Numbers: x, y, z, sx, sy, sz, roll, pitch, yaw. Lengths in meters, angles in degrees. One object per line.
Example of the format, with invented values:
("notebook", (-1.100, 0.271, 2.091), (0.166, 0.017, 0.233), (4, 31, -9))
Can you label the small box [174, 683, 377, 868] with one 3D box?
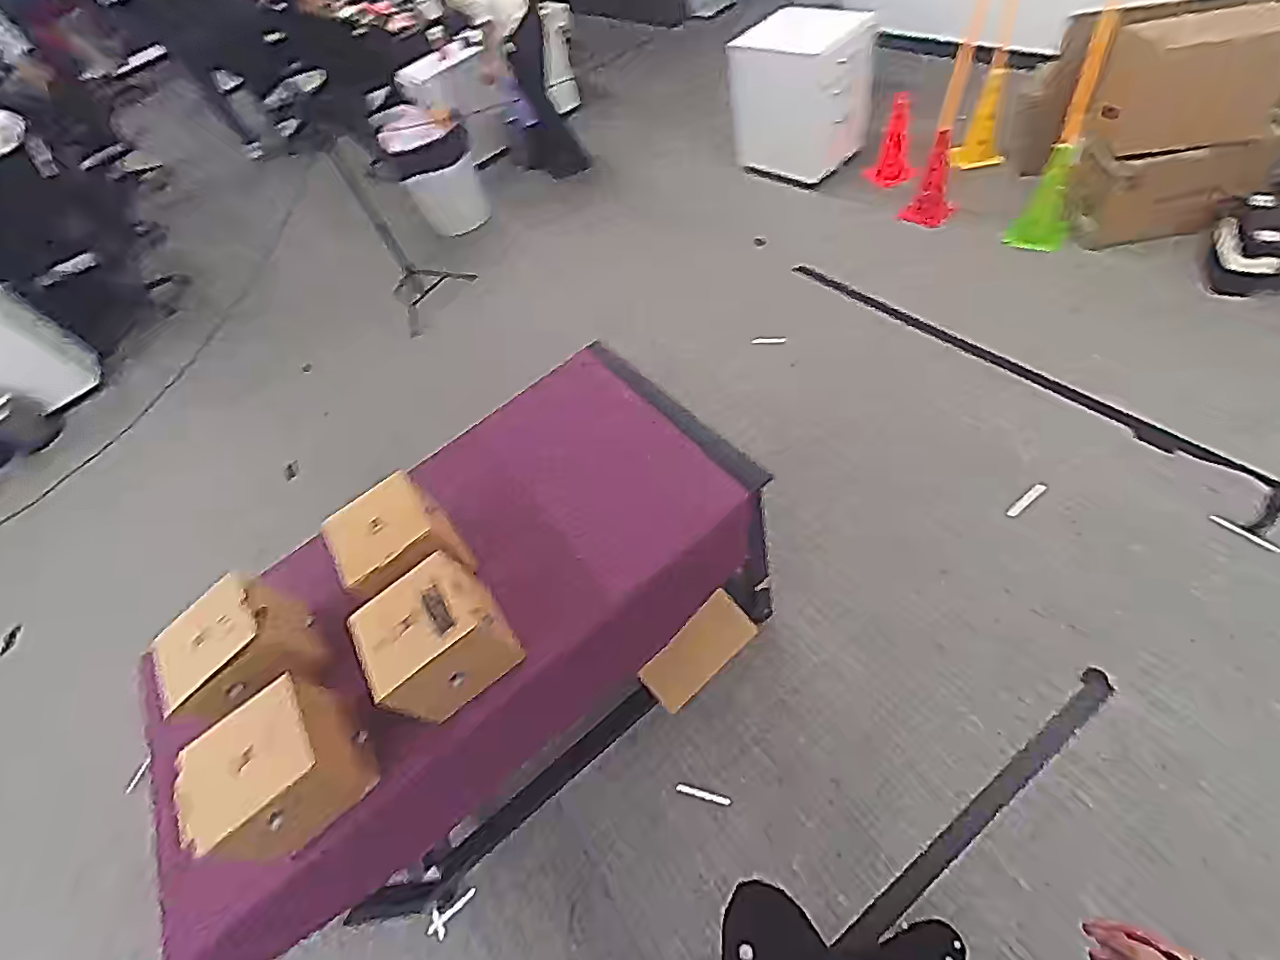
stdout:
("small box", (-0.544, 0.448, 0.820), (0.179, 0.176, 0.168), (-39, 56, -13))

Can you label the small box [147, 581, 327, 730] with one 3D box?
("small box", (-0.701, 0.319, 0.951), (0.179, 0.176, 0.168), (-40, 56, -14))
